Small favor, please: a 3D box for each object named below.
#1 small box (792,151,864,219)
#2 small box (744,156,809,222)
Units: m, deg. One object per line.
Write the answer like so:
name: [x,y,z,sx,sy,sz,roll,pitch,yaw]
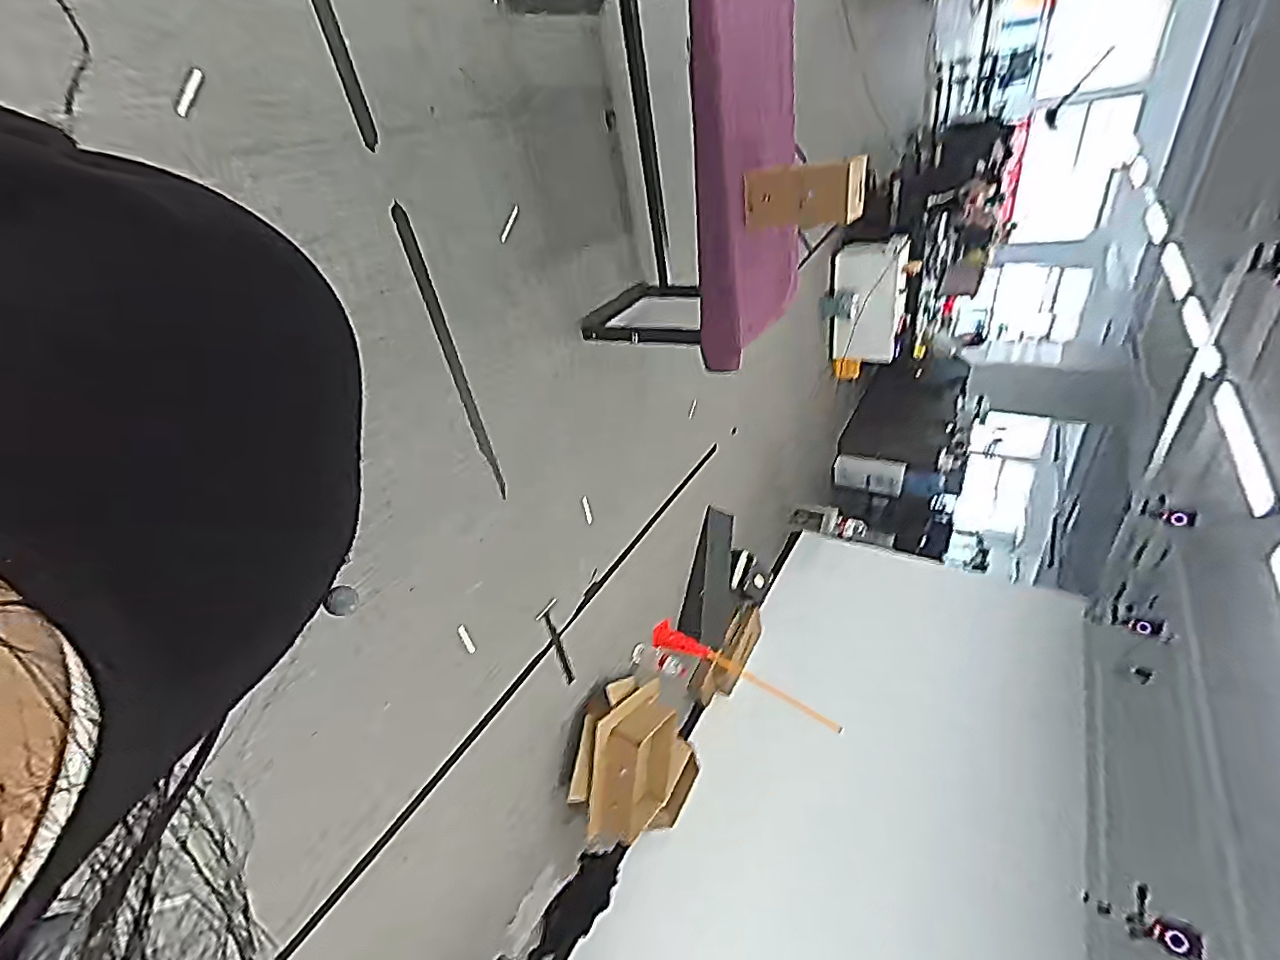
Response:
small box: [0.588,-0.925,1.696,0.179,0.176,0.168,-43,135,-42]
small box: [0.448,-0.955,1.777,0.179,0.176,0.168,-44,136,-43]
